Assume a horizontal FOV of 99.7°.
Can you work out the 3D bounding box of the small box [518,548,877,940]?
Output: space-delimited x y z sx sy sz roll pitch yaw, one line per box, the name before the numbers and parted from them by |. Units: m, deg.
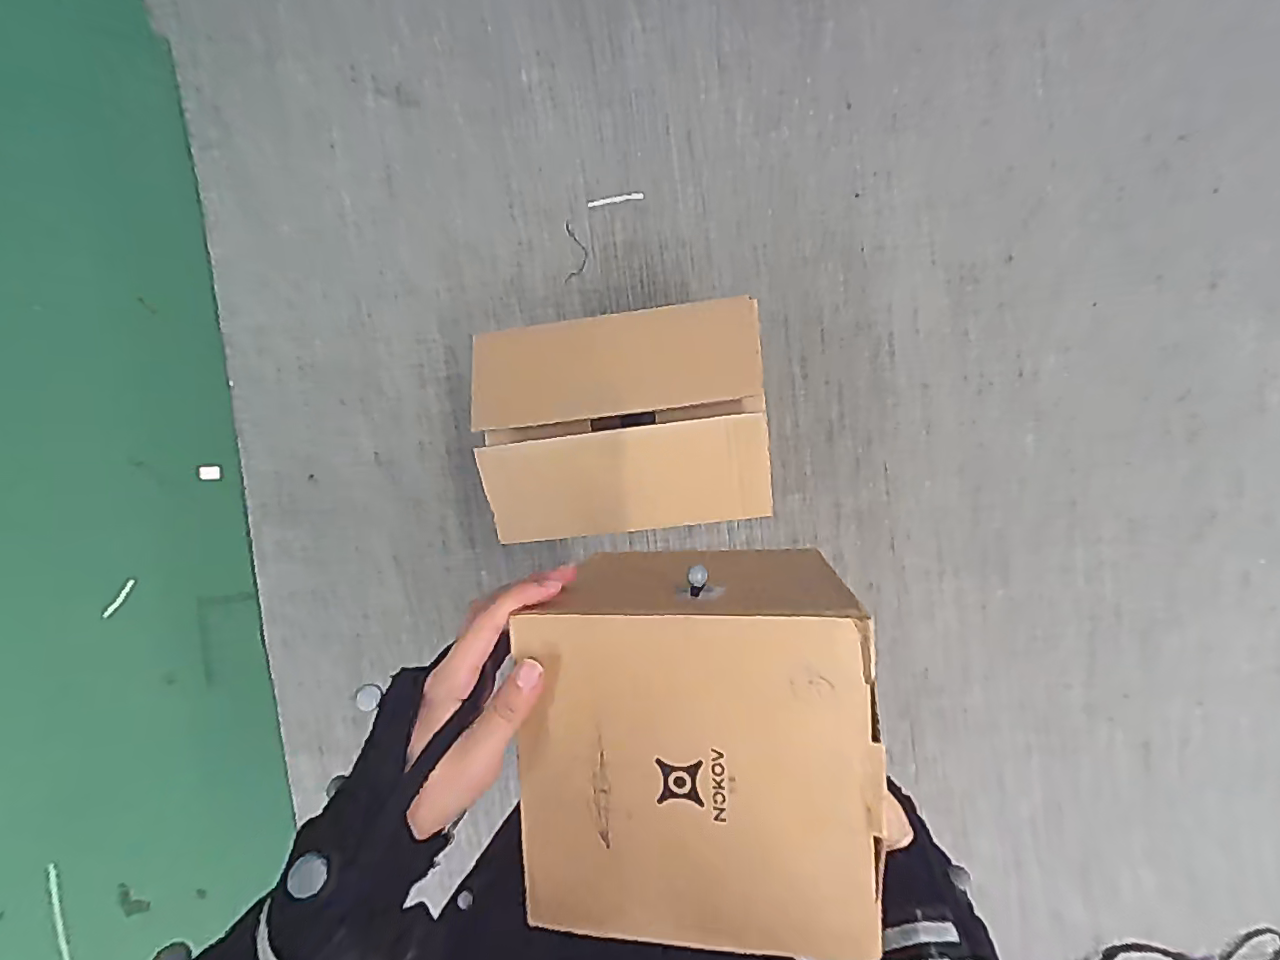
small box | 0.039 0.138 0.348 0.179 0.176 0.168 -3 92 11
